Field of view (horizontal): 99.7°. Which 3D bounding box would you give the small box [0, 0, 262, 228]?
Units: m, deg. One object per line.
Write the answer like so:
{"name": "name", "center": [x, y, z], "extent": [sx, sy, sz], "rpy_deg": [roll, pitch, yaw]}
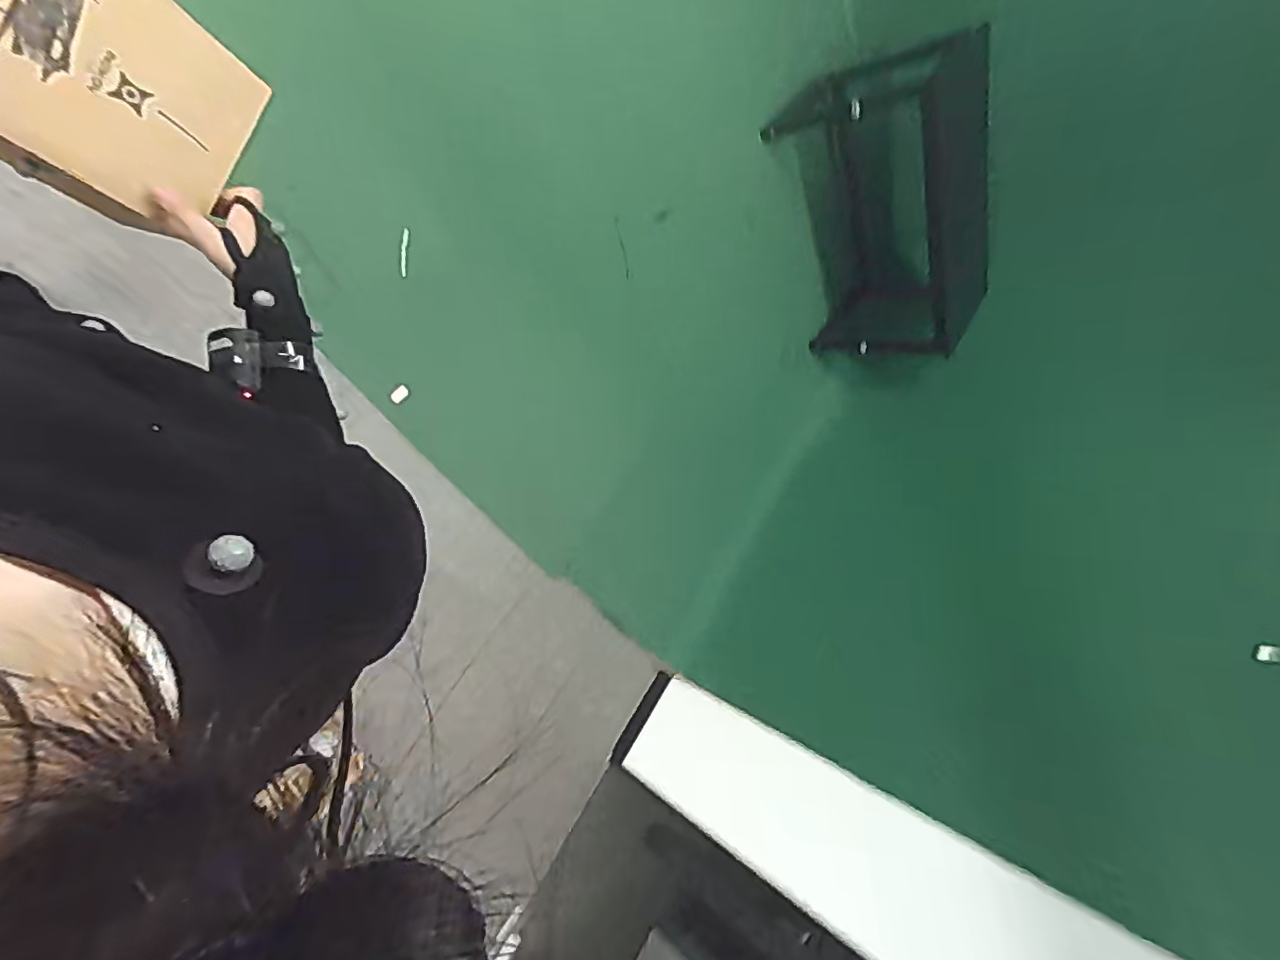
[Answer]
{"name": "small box", "center": [-0.473, -0.338, 0.444], "extent": [0.179, 0.176, 0.168], "rpy_deg": [30, 82, -63]}
